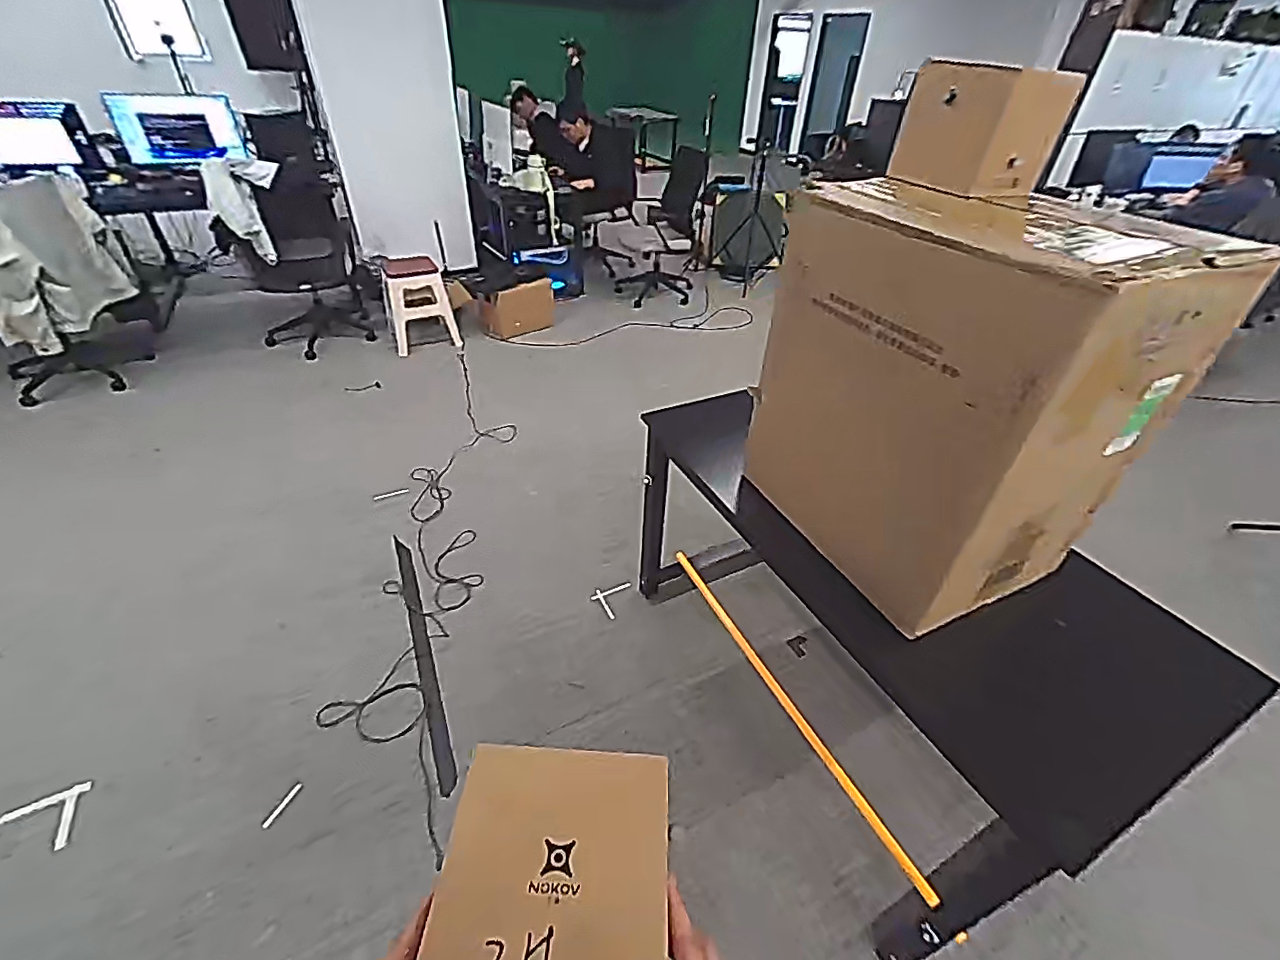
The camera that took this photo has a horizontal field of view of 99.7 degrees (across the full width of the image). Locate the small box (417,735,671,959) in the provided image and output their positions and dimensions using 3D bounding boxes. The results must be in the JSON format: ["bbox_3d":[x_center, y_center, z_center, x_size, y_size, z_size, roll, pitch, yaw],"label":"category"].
[{"bbox_3d":[-0.064,0.339,0.444,0.168,0.176,0.179,3,40,0],"label":"small box"}]

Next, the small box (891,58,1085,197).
[{"bbox_3d":[0.553,-0.576,0.887,0.168,0.176,0.179,-14,43,-23],"label":"small box"}]
